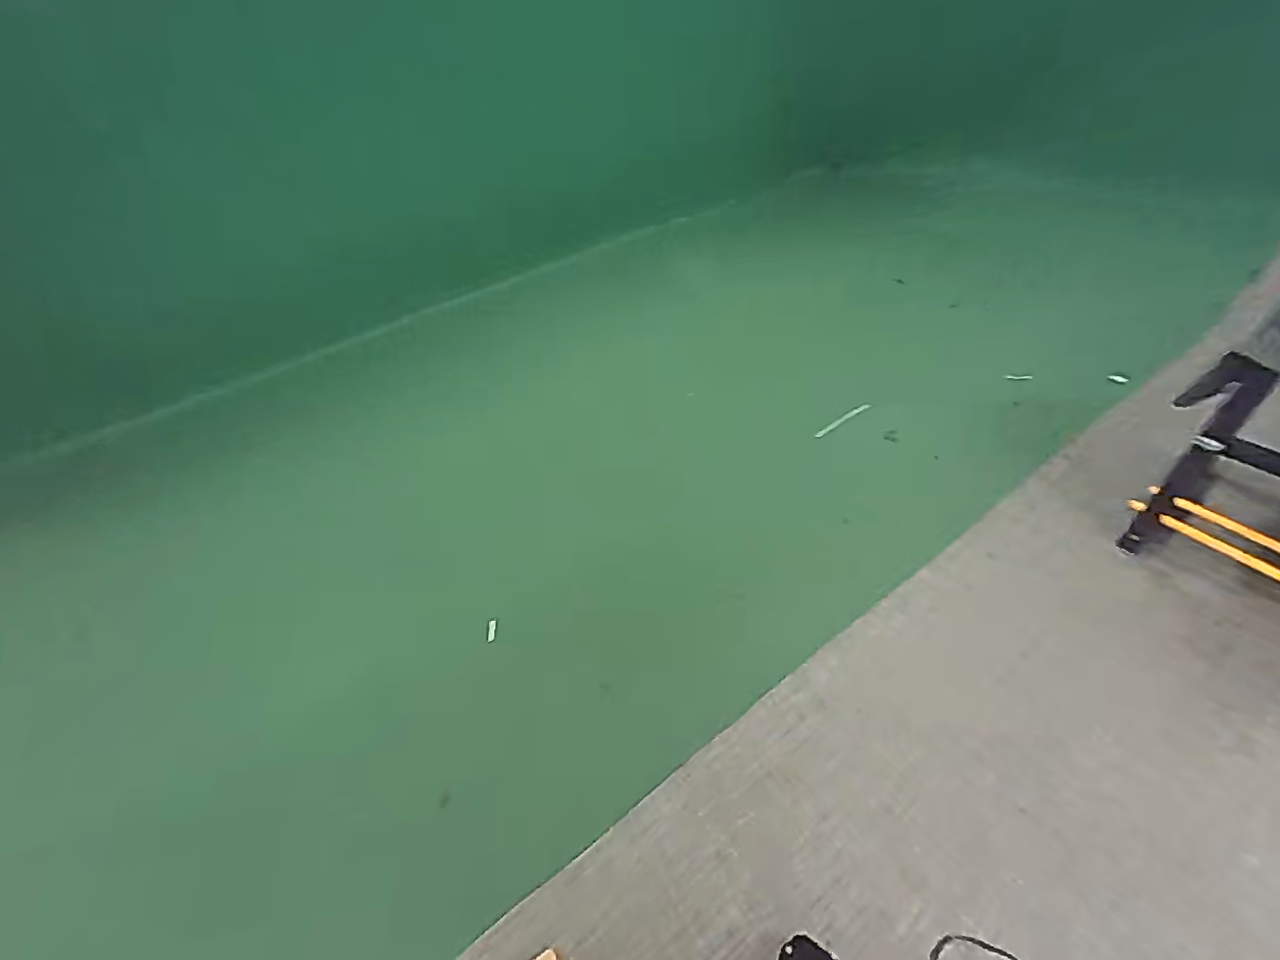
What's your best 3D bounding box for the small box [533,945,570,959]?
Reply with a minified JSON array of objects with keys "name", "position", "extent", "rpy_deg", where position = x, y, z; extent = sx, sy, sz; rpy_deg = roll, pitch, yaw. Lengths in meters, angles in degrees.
[{"name":"small box","position":[-0.187,1.023,1.002],"extent":[0.179,0.176,0.168],"rpy_deg":[-26,46,-20]}]
